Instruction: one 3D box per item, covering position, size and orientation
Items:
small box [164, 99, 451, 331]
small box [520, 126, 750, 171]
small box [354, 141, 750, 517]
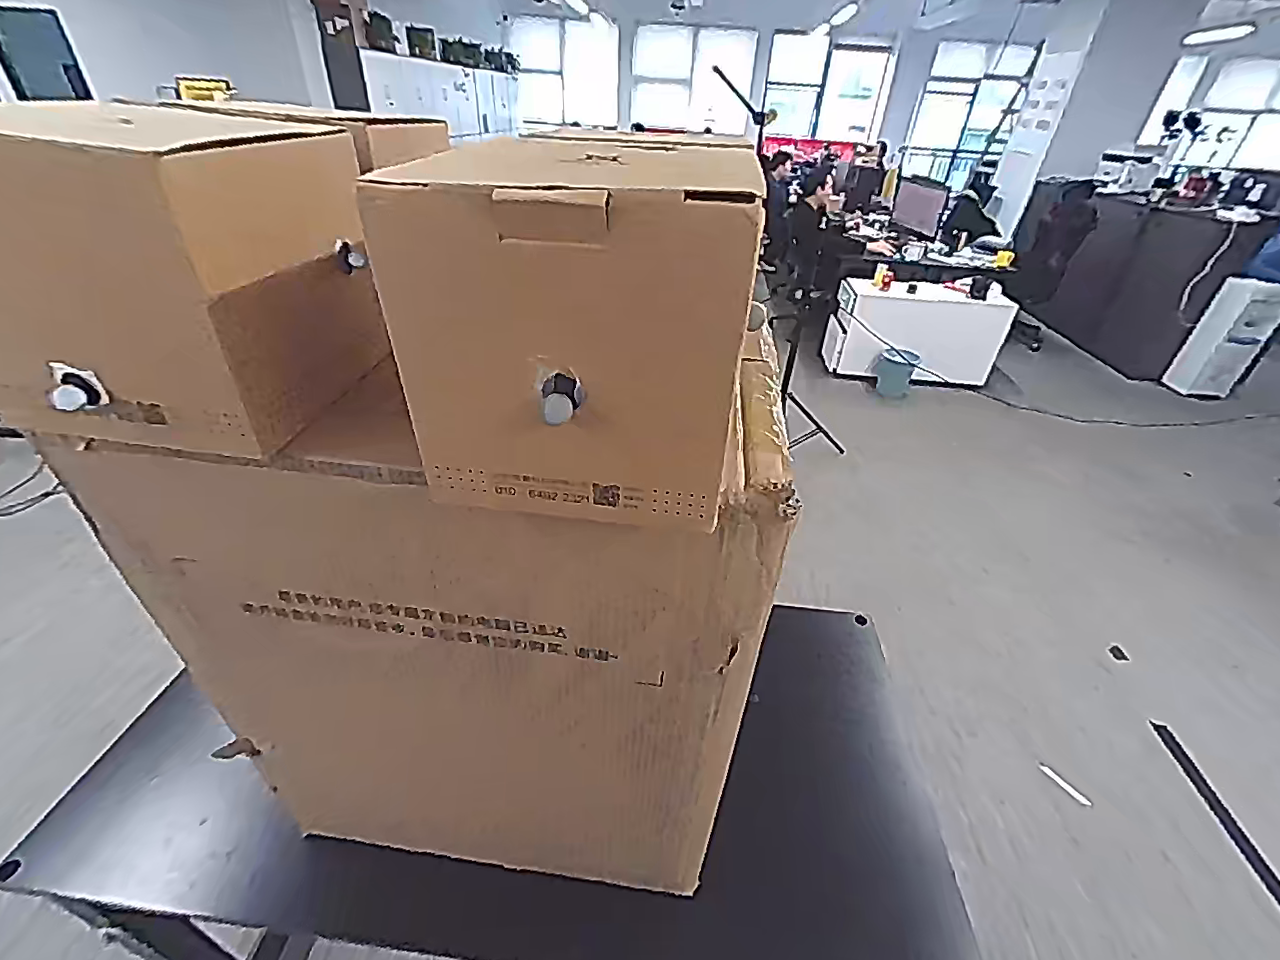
[{"bbox_3d":[-0.291,-0.259,0.529,0.168,0.176,0.179,5,33,1],"label":"small box"},{"bbox_3d":[-0.003,-0.212,0.487,0.168,0.176,0.179,3,34,2],"label":"small box"},{"bbox_3d":[-0.027,-0.097,0.325,0.168,0.176,0.179,6,36,5],"label":"small box"}]
